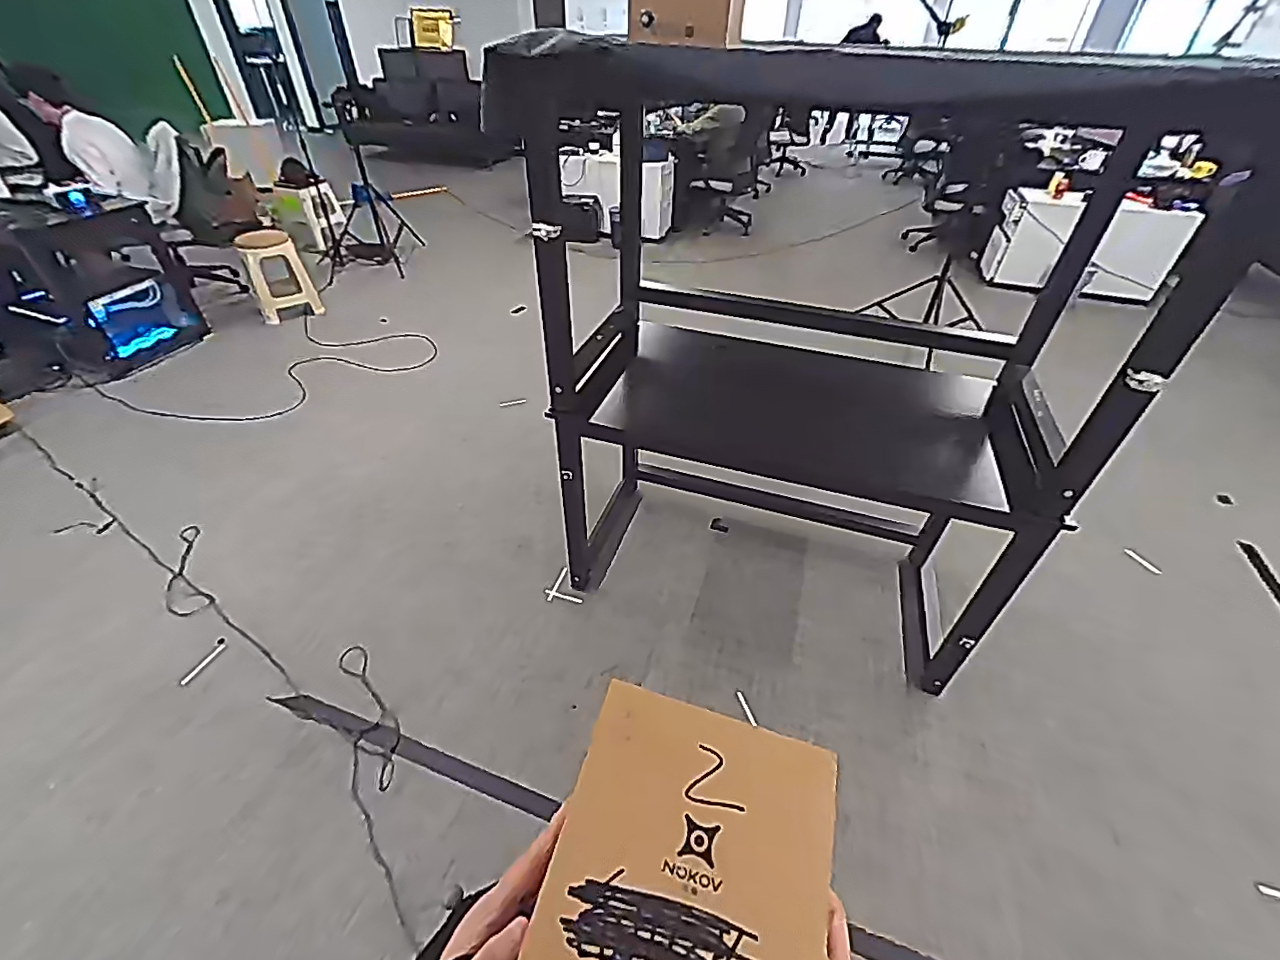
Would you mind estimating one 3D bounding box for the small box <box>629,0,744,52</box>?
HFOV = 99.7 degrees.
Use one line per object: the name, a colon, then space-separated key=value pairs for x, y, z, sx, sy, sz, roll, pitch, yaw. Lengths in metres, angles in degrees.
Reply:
small box: x=0.082 y=-0.808 z=0.881 sx=0.168 sy=0.176 sz=0.179 roll=12 pitch=40 yaw=10
